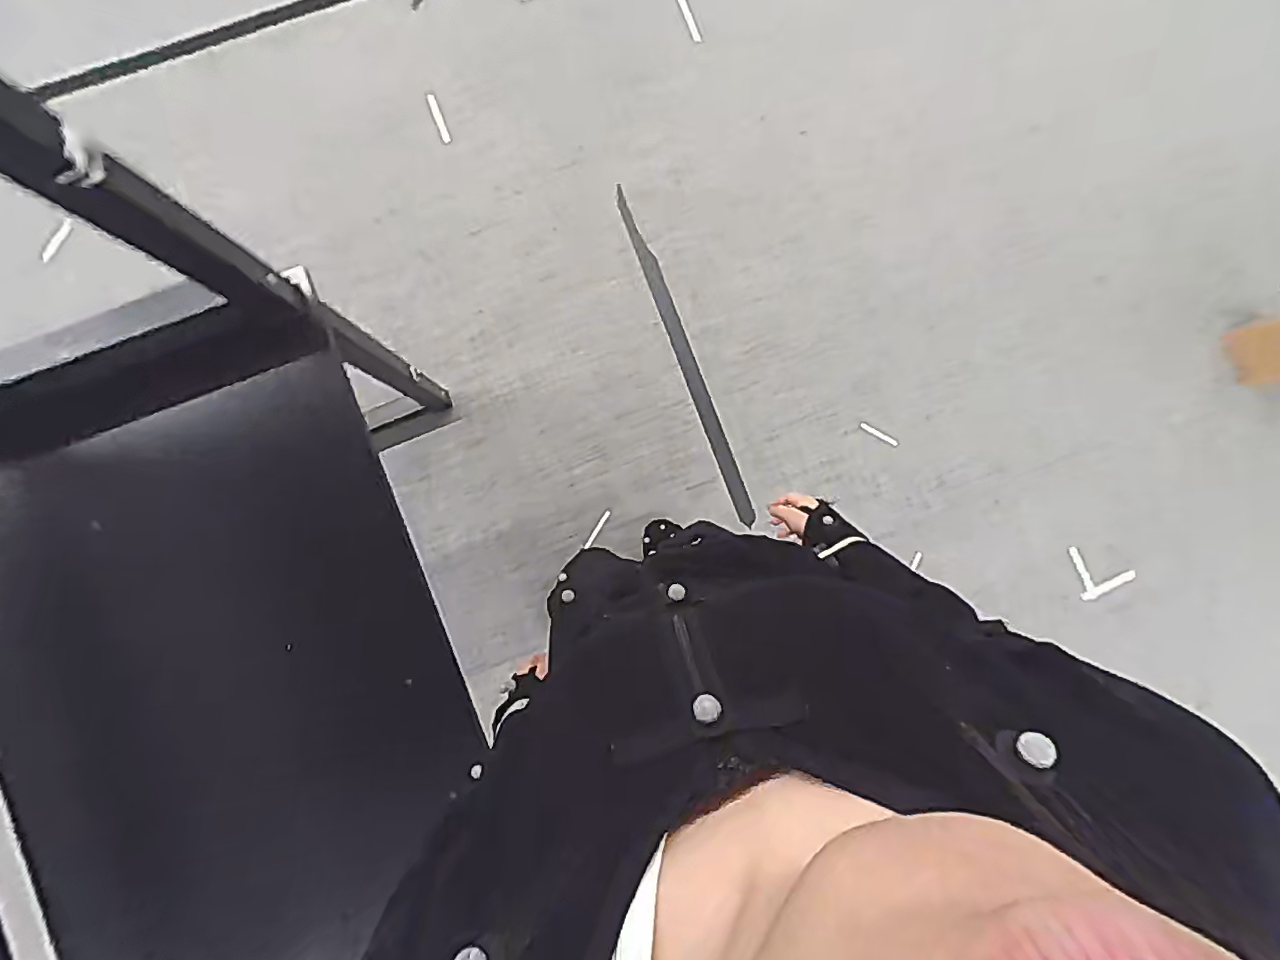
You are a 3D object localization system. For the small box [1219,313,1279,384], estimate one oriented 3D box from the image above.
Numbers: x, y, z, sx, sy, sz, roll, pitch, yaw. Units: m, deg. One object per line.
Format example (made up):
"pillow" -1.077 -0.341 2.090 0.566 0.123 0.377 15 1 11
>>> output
"small box" 1.869 -0.393 1.568 0.168 0.176 0.179 -22 87 -4
